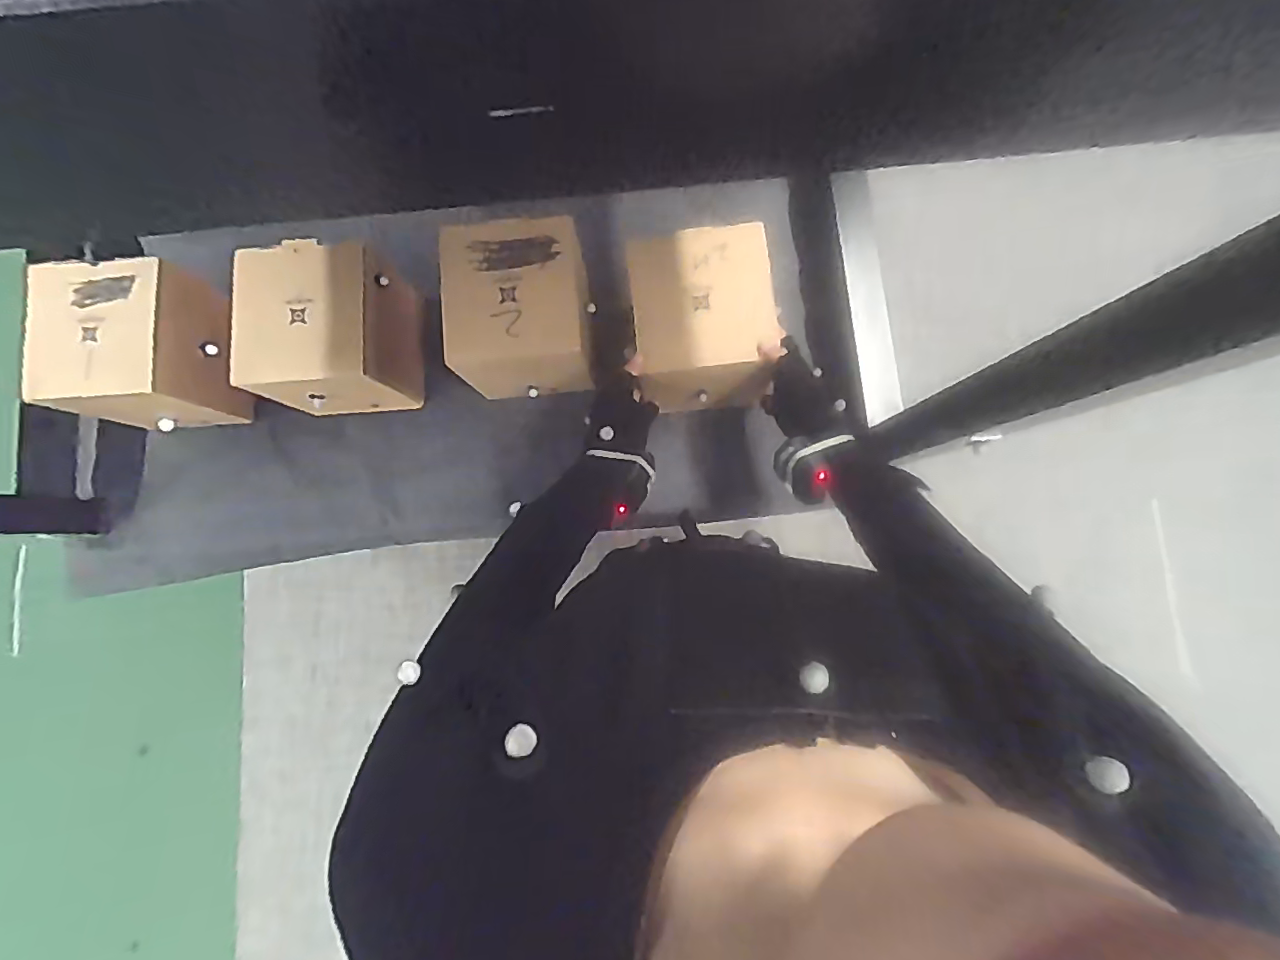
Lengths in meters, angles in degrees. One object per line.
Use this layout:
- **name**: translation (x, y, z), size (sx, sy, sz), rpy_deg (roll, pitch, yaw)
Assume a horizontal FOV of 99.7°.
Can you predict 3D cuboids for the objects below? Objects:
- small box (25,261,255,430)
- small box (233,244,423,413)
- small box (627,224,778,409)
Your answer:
- **small box**: translation (-0.663, -0.174, 0.742), size (0.168, 0.176, 0.179), rpy_deg (-3, 84, 1)
- **small box**: translation (-0.411, -0.192, 0.739), size (0.168, 0.176, 0.179), rpy_deg (-4, 83, 1)
- **small box**: translation (0.078, -0.200, 0.714), size (0.168, 0.176, 0.179), rpy_deg (-6, 79, 3)
